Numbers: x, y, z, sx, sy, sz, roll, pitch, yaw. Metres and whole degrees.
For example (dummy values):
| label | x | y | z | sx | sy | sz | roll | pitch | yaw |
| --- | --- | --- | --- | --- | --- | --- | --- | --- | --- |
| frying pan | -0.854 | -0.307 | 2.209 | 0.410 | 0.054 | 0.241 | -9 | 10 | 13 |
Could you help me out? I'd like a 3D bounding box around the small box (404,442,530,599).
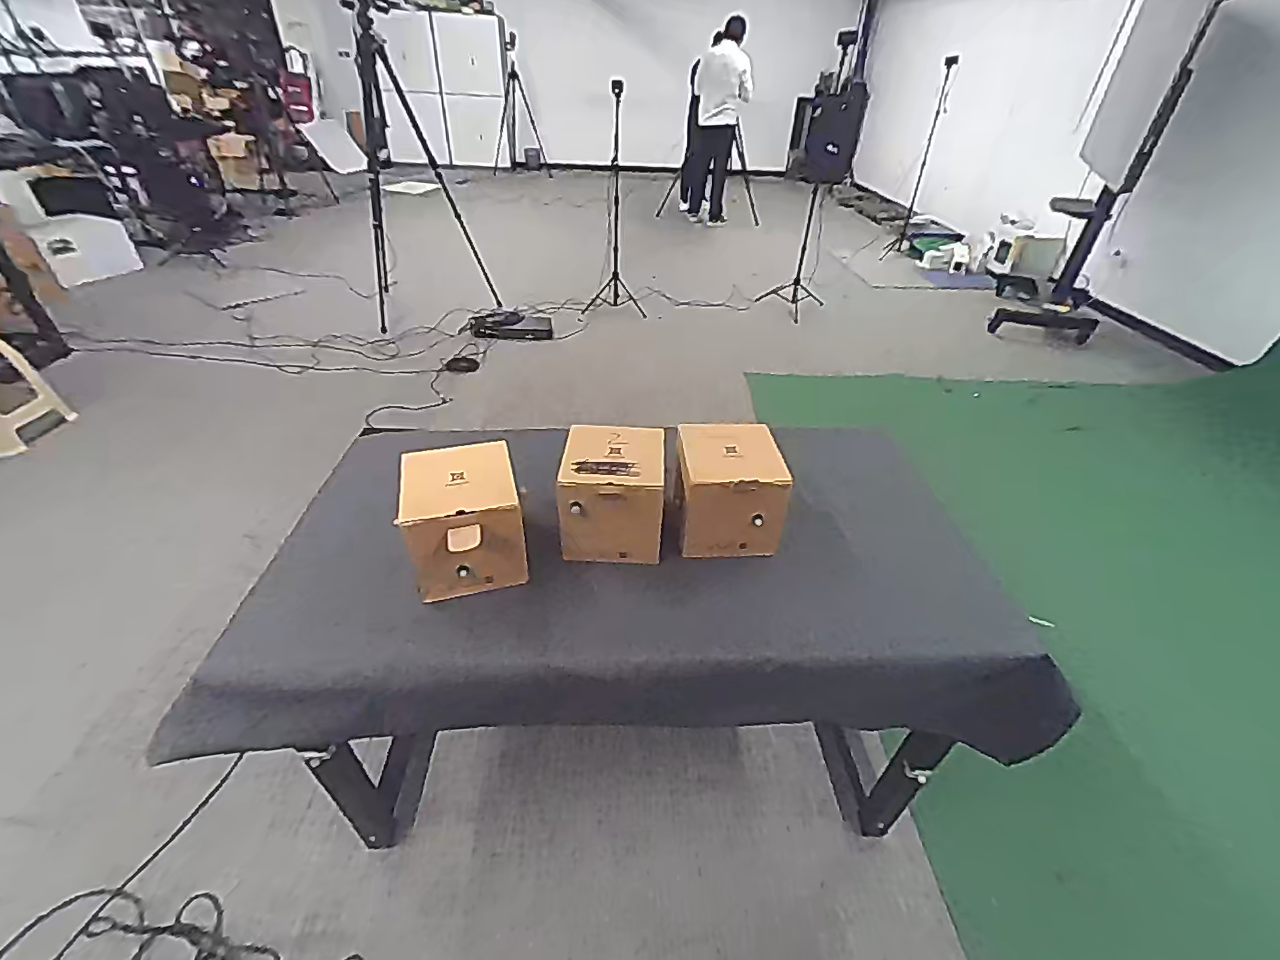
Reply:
| label | x | y | z | sx | sy | sz | roll | pitch | yaw |
| --- | --- | --- | --- | --- | --- | --- | --- | --- | --- |
| small box | -0.275 | 0.062 | 0.871 | 0.168 | 0.176 | 0.179 | -9 | 39 | -16 |
